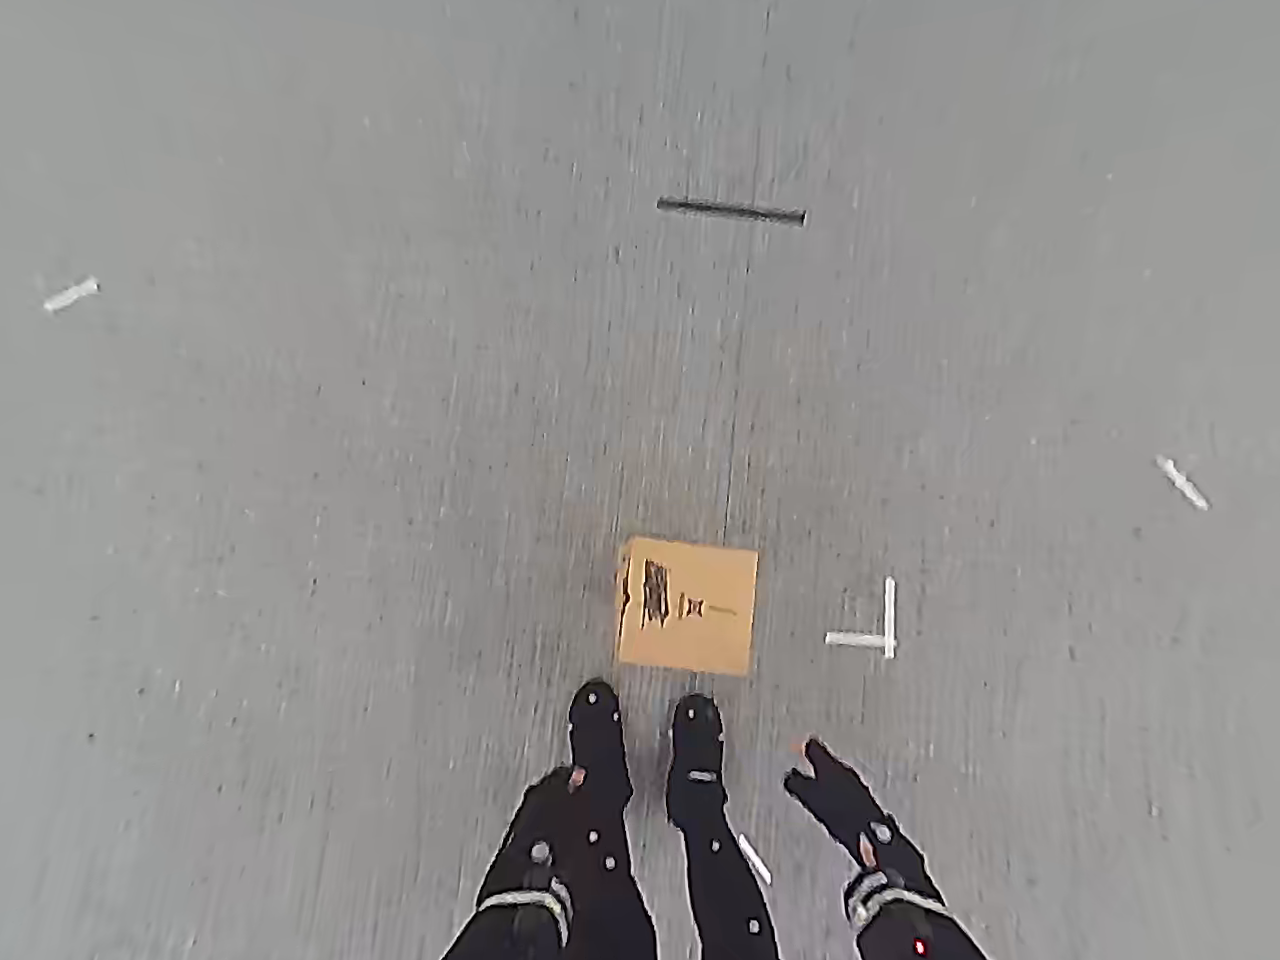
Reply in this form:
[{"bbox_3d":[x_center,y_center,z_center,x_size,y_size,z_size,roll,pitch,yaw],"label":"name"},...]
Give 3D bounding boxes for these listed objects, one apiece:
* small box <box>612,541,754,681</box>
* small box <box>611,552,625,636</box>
[{"bbox_3d":[0.055,0.187,0.801,0.179,0.176,0.168,8,81,-2],"label":"small box"},{"bbox_3d":[0.032,0.237,1.125,0.179,0.176,0.168,3,81,-1],"label":"small box"}]
